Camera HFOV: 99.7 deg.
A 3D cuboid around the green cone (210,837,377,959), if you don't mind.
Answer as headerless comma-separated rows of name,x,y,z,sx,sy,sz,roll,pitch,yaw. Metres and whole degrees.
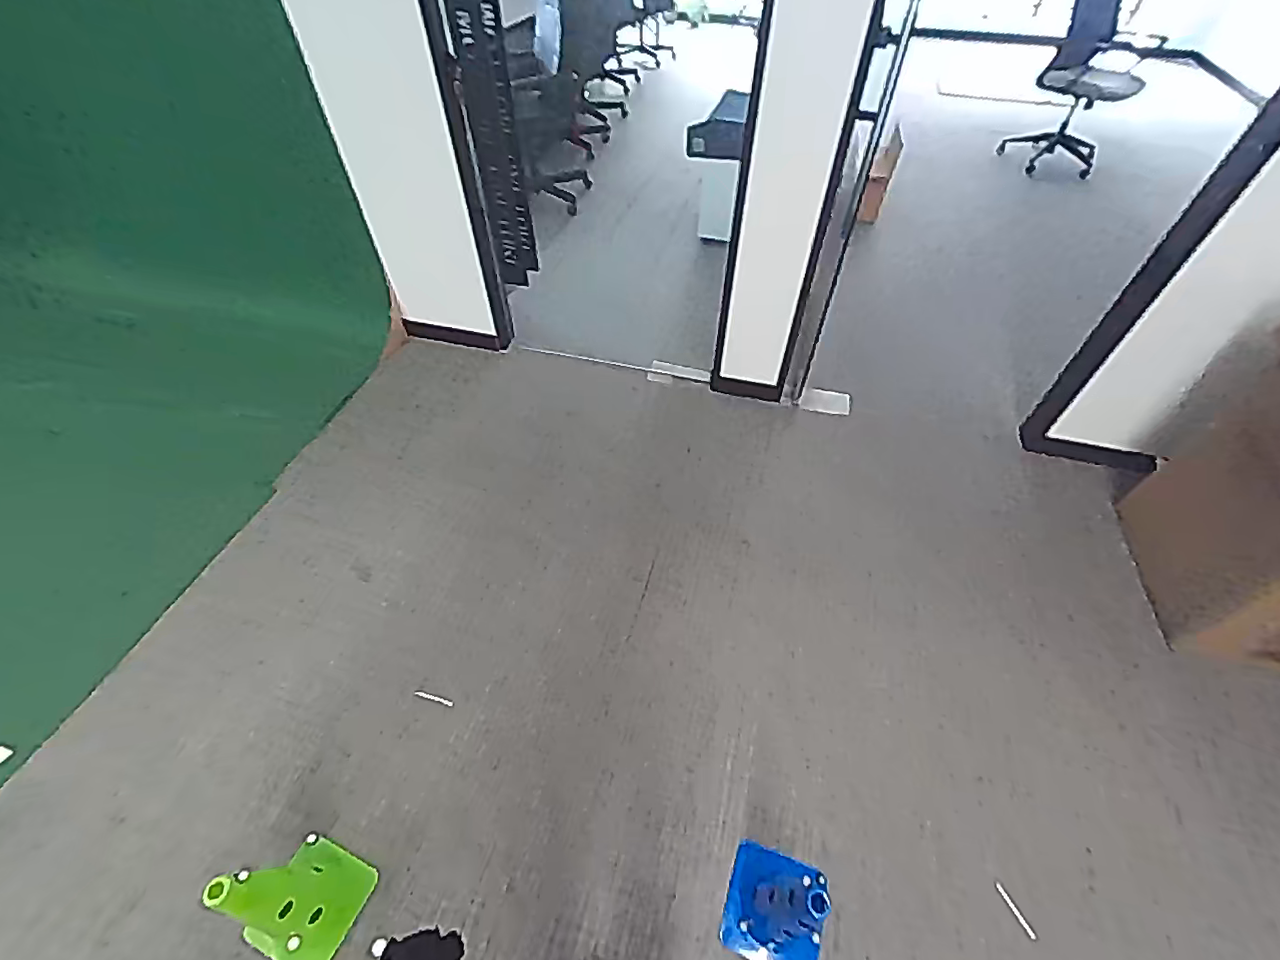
green cone,-0.690,0.788,1.015,0.202,0.368,0.200,18,51,14
